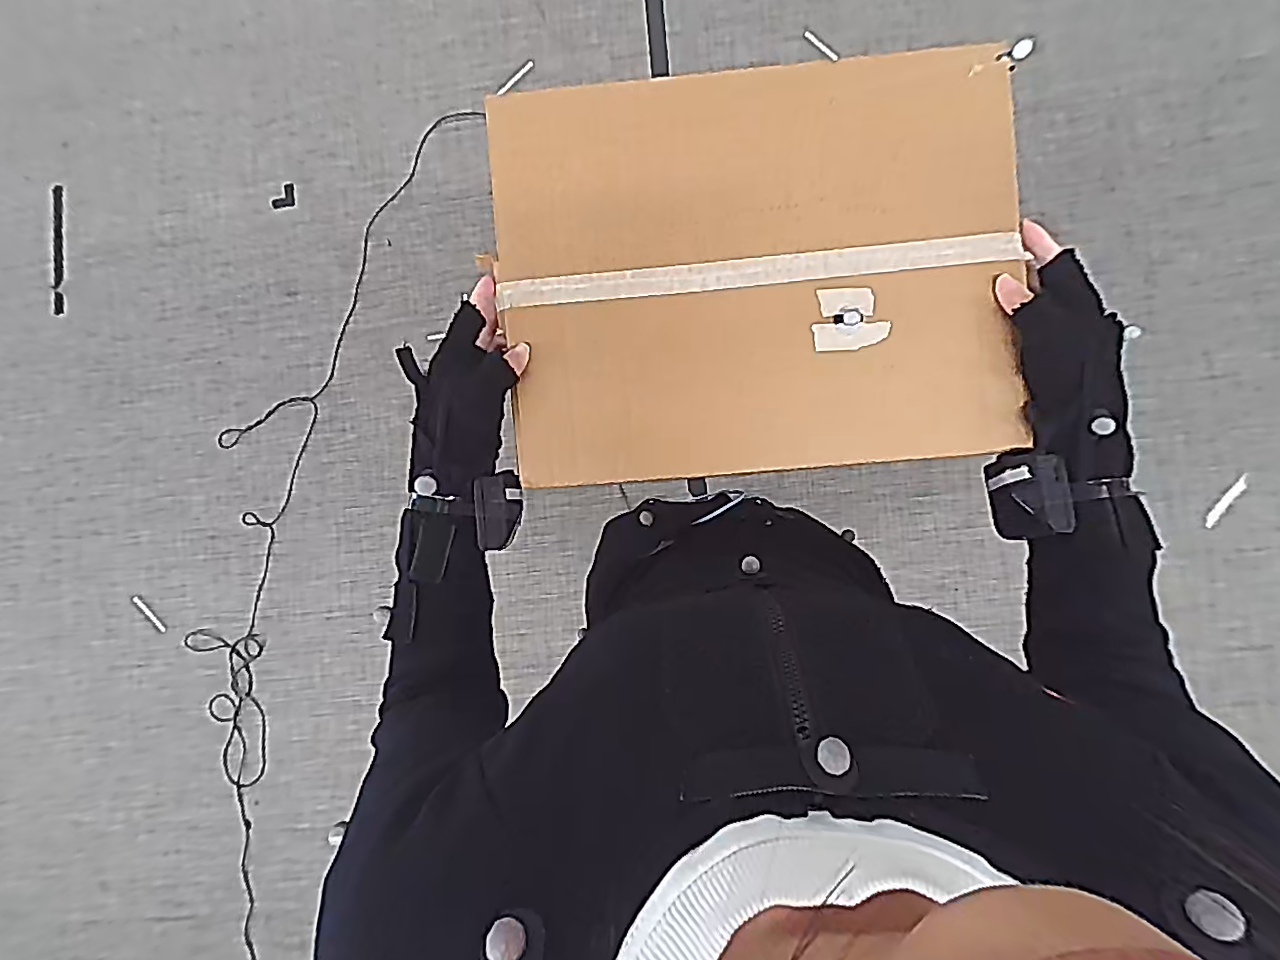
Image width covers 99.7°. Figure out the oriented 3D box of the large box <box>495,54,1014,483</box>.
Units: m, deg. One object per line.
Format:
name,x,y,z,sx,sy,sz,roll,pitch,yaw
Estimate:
large box,0.094,-0.173,0.586,0.408,0.320,0.320,-5,92,1
